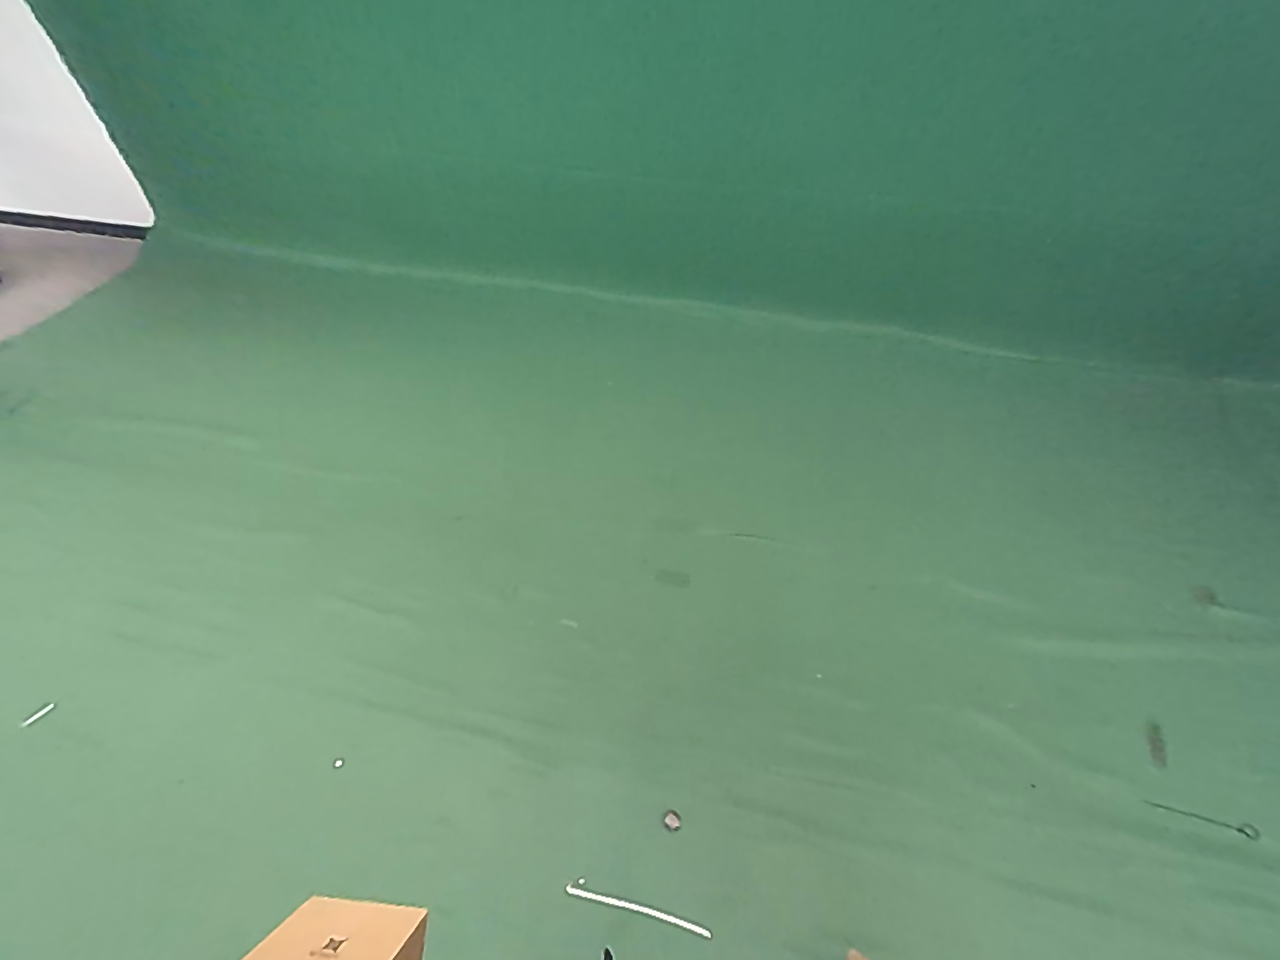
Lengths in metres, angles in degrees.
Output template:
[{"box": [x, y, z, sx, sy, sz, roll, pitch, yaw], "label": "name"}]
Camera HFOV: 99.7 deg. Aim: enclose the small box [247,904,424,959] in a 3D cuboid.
[{"box": [-0.381, 0.650, 0.635, 0.168, 0.179, 0.176, 4, 81, 4], "label": "small box"}]
